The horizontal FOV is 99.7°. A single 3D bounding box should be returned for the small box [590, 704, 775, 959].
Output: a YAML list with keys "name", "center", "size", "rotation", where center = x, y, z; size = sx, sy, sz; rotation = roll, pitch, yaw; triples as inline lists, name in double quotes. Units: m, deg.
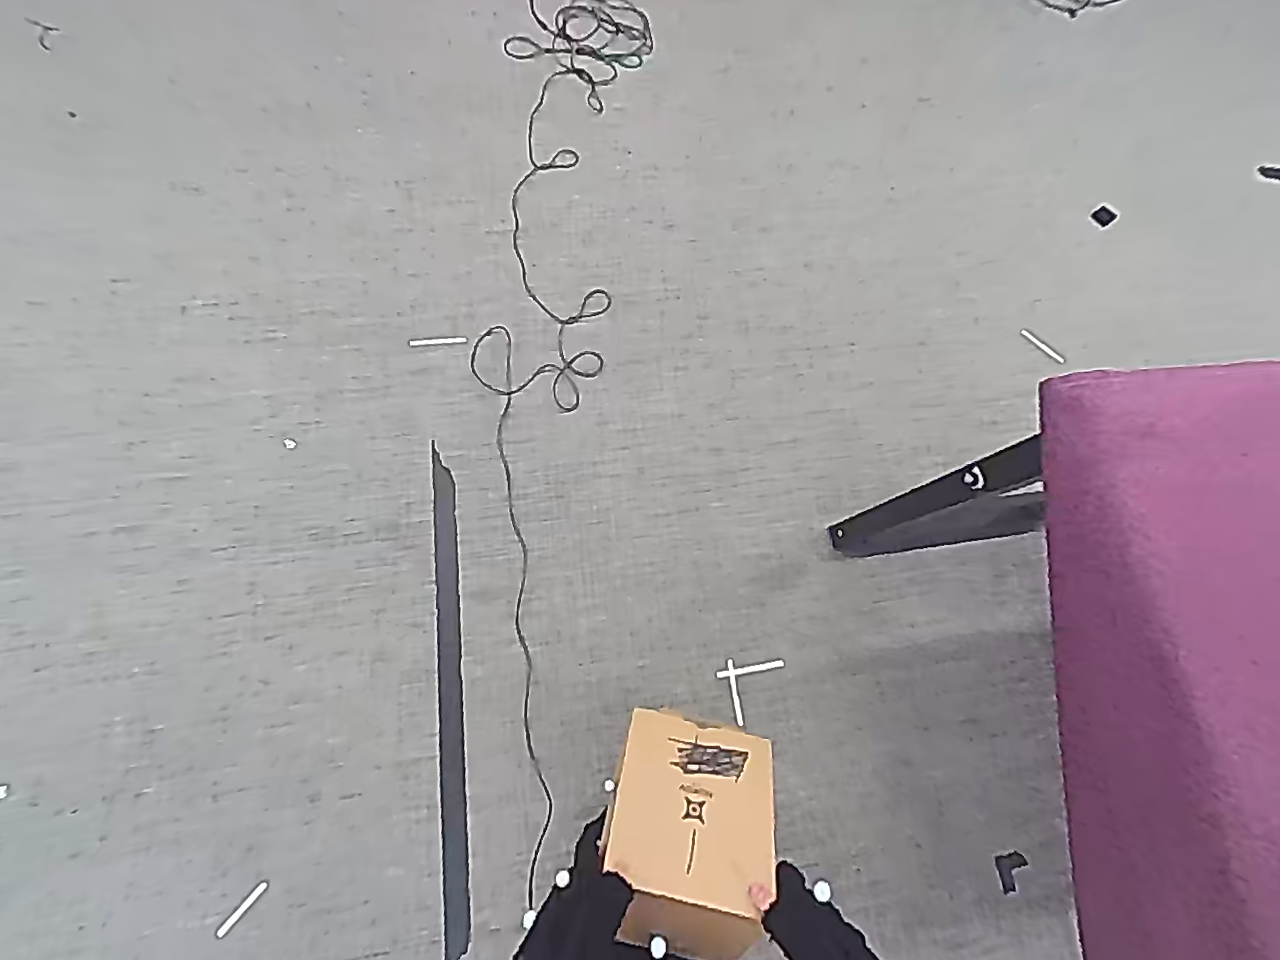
- name: "small box"
  center: [0.045, 0.392, 0.607]
  size: [0.168, 0.176, 0.179]
  rotation: [12, 37, 2]
